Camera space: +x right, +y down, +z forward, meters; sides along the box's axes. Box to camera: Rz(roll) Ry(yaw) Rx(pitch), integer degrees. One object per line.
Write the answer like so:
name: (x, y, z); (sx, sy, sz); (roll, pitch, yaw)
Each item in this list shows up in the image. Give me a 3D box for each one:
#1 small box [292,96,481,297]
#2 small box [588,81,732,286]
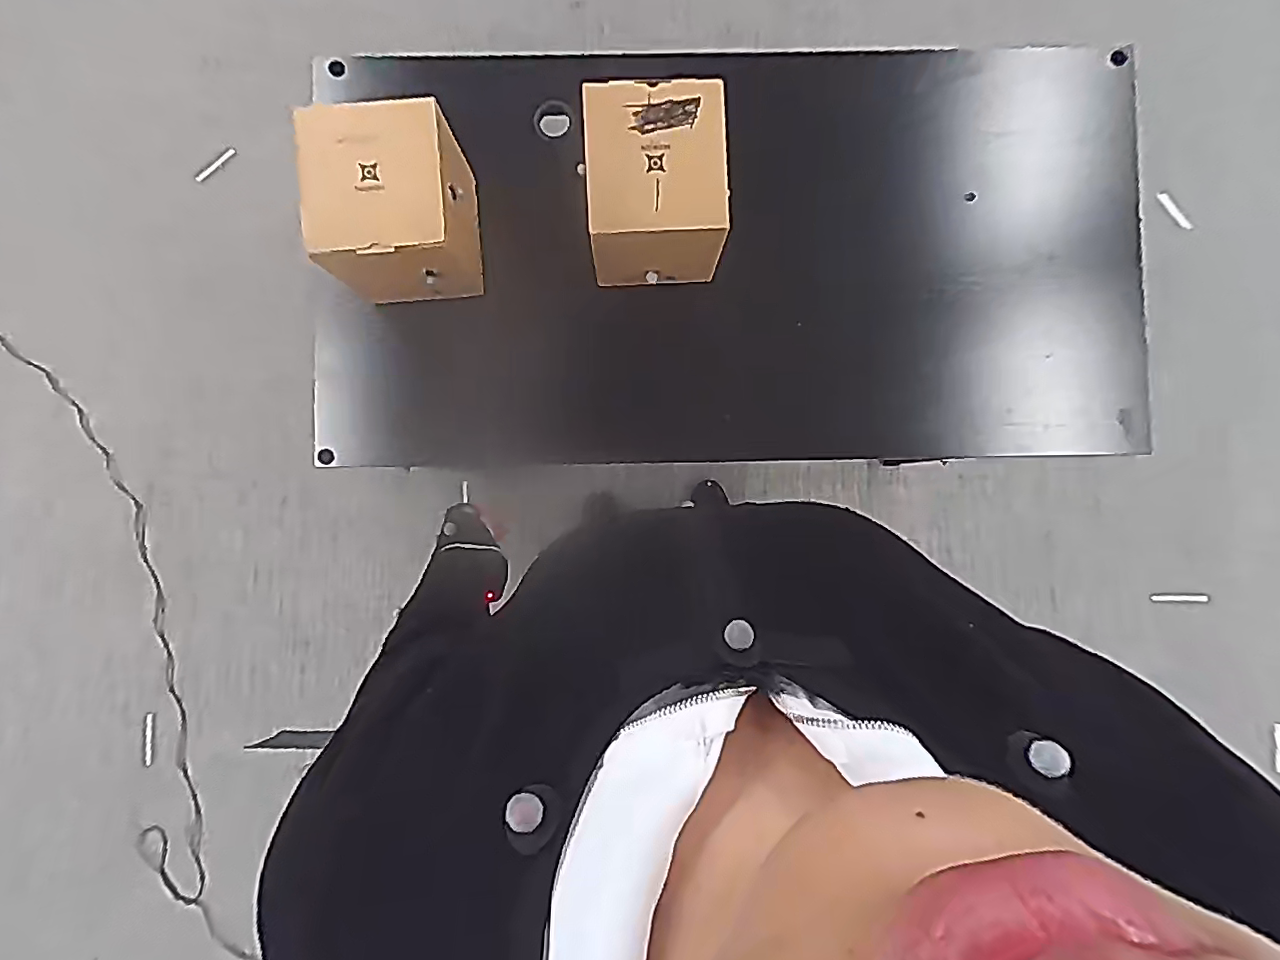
small box: (-0.312, -0.347, 0.697); (0.168, 0.176, 0.179); (-5, 88, -2)
small box: (0.021, -0.370, 0.700); (0.168, 0.176, 0.179); (-2, 90, 0)
